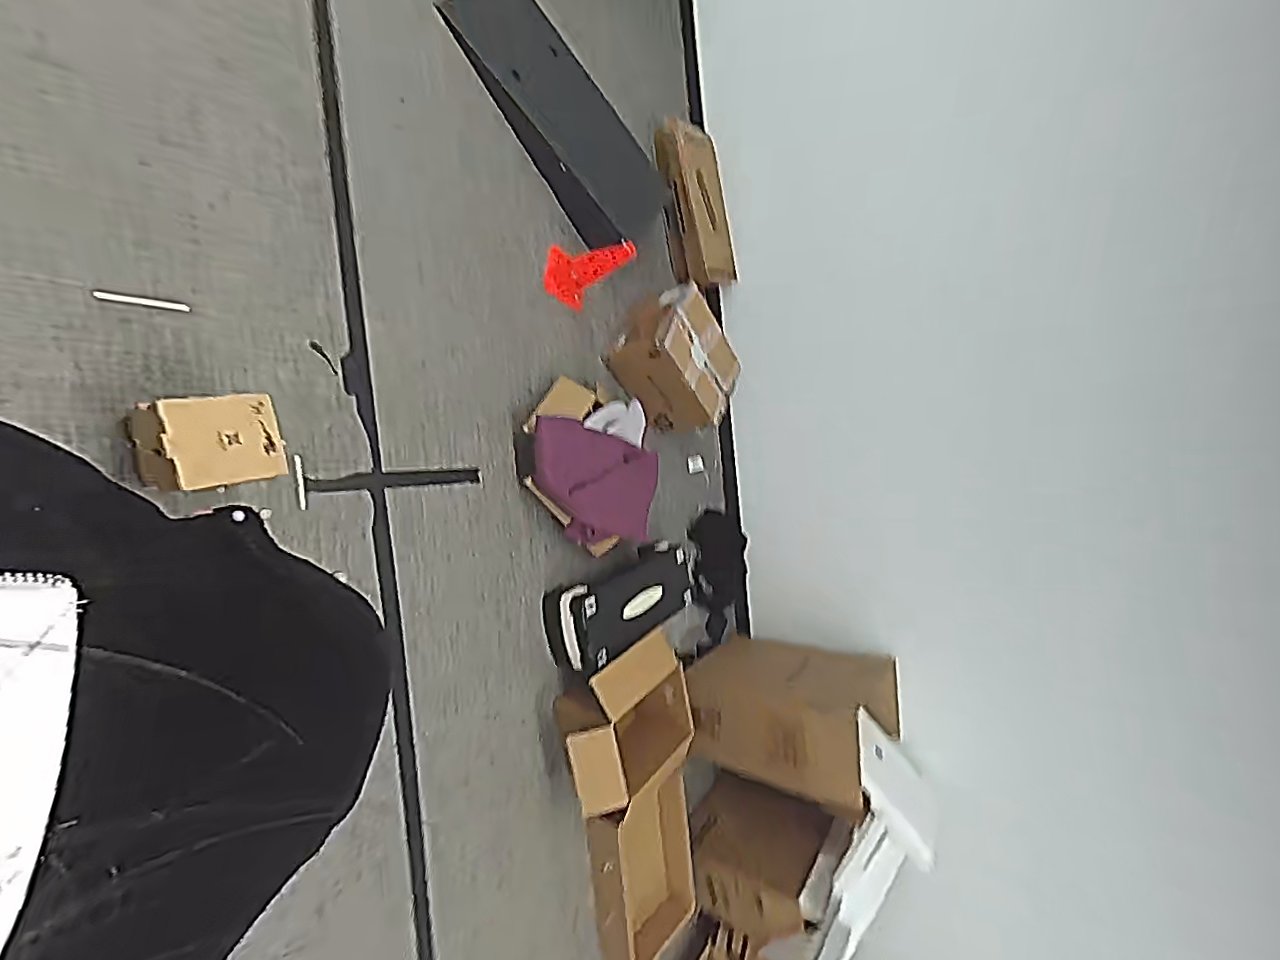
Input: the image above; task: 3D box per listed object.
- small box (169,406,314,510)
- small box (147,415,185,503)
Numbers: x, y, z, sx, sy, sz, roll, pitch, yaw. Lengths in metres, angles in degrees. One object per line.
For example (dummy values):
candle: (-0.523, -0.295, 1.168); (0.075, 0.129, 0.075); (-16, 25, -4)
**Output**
small box: (-0.761, -0.041, 1.028); (0.179, 0.176, 0.168); (-18, 100, -50)
small box: (-0.889, -0.049, 1.132); (0.179, 0.176, 0.168); (-16, 98, -49)
